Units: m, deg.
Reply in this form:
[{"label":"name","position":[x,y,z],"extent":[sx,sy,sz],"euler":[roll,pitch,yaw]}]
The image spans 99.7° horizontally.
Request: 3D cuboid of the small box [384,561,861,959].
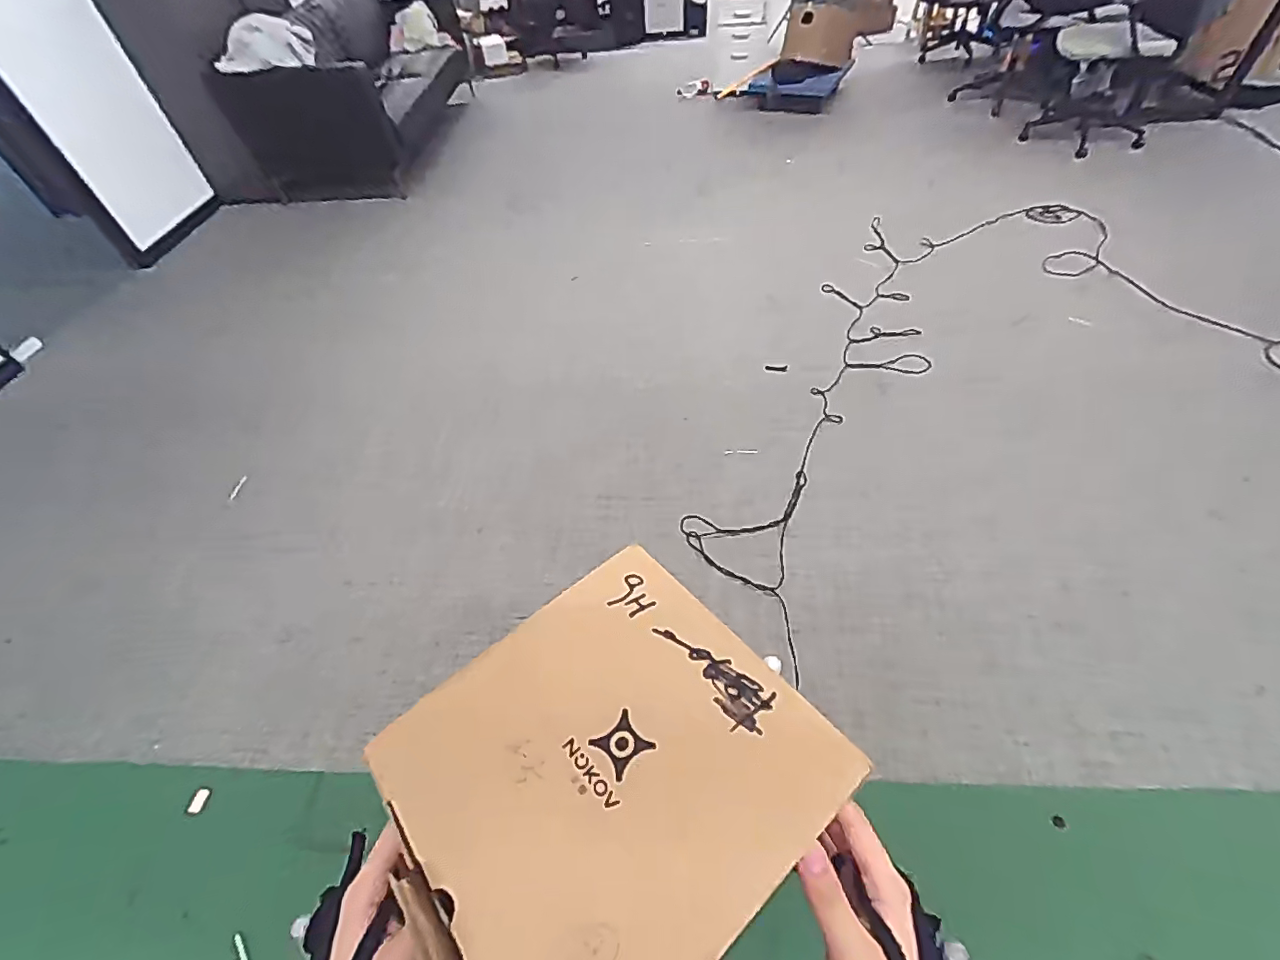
[{"label":"small box","position":[-0.005,0.190,0.317],"extent":[0.179,0.176,0.168],"euler":[-35,54,-23]}]
